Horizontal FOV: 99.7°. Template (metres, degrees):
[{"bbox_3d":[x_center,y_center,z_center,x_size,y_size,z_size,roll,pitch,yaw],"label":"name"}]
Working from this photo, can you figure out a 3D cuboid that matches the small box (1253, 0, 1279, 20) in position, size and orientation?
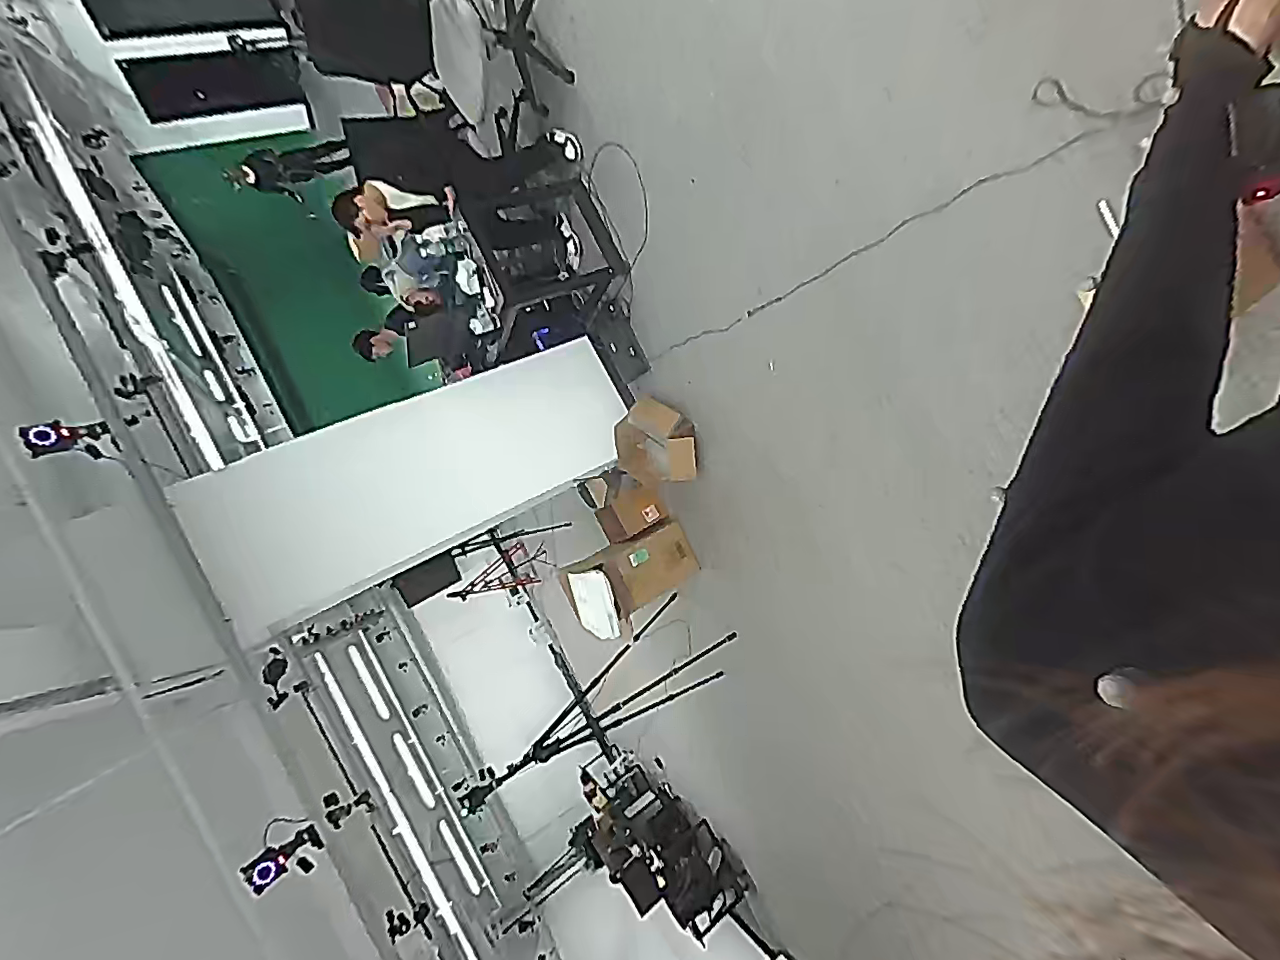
[{"bbox_3d":[0.585,-0.487,0.395,0.179,0.176,0.168,-5,113,58],"label":"small box"}]

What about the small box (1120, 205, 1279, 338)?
[{"bbox_3d":[1.147,-0.422,1.097,0.179,0.176,0.168,63,158,1],"label":"small box"}]
